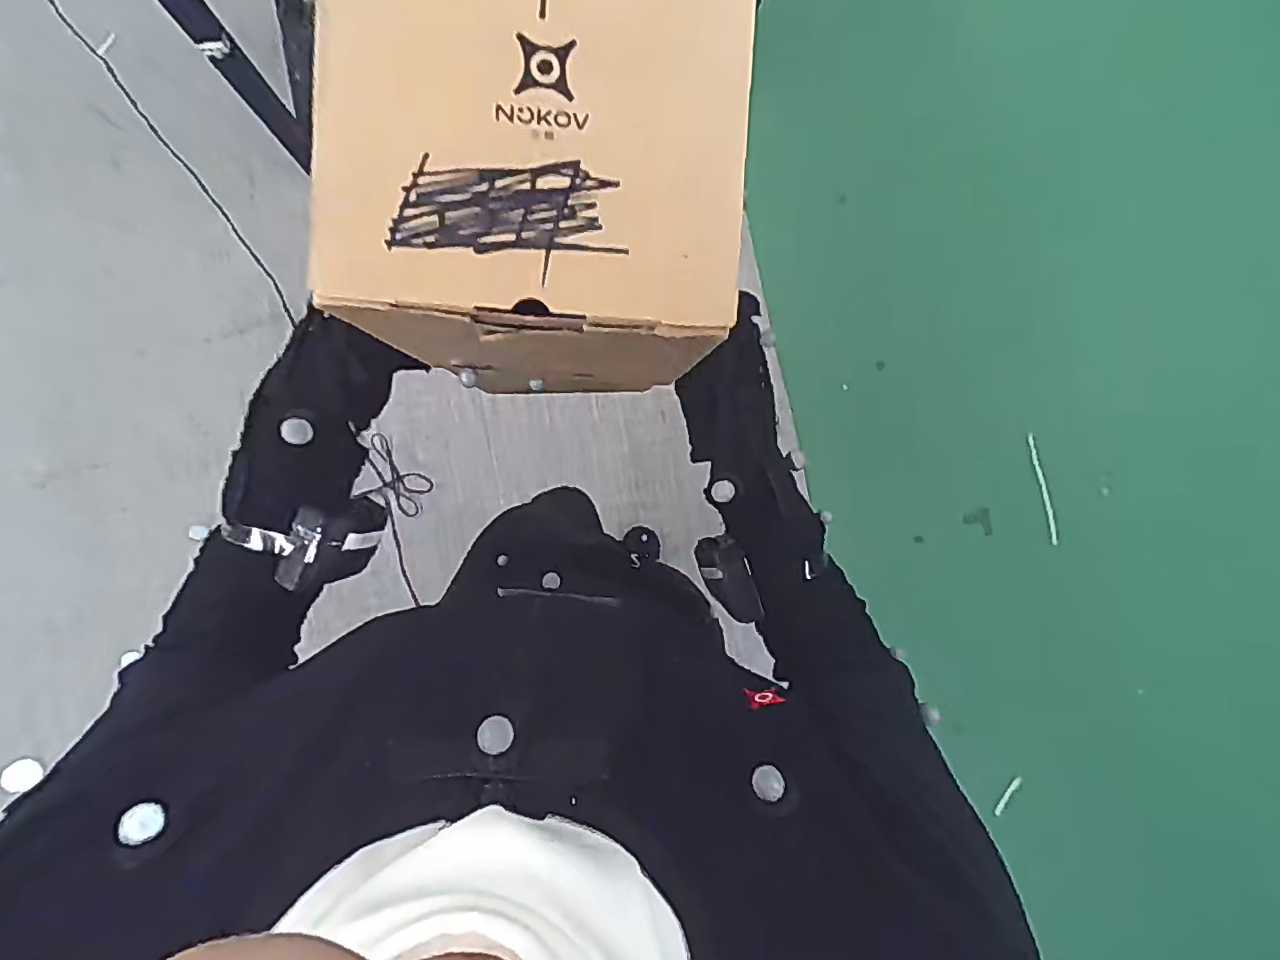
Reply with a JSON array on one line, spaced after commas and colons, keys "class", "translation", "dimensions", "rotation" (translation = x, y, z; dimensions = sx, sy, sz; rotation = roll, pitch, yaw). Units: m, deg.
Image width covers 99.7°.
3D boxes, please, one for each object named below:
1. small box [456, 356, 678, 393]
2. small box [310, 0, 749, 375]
[{"class": "small box", "translation": [-0.059, -0.173, 0.453], "dimensions": [0.168, 0.176, 0.179], "rotation": [-2, 92, -4]}, {"class": "small box", "translation": [-0.046, -0.156, 0.289], "dimensions": [0.168, 0.176, 0.179], "rotation": [3, 92, -5]}]
